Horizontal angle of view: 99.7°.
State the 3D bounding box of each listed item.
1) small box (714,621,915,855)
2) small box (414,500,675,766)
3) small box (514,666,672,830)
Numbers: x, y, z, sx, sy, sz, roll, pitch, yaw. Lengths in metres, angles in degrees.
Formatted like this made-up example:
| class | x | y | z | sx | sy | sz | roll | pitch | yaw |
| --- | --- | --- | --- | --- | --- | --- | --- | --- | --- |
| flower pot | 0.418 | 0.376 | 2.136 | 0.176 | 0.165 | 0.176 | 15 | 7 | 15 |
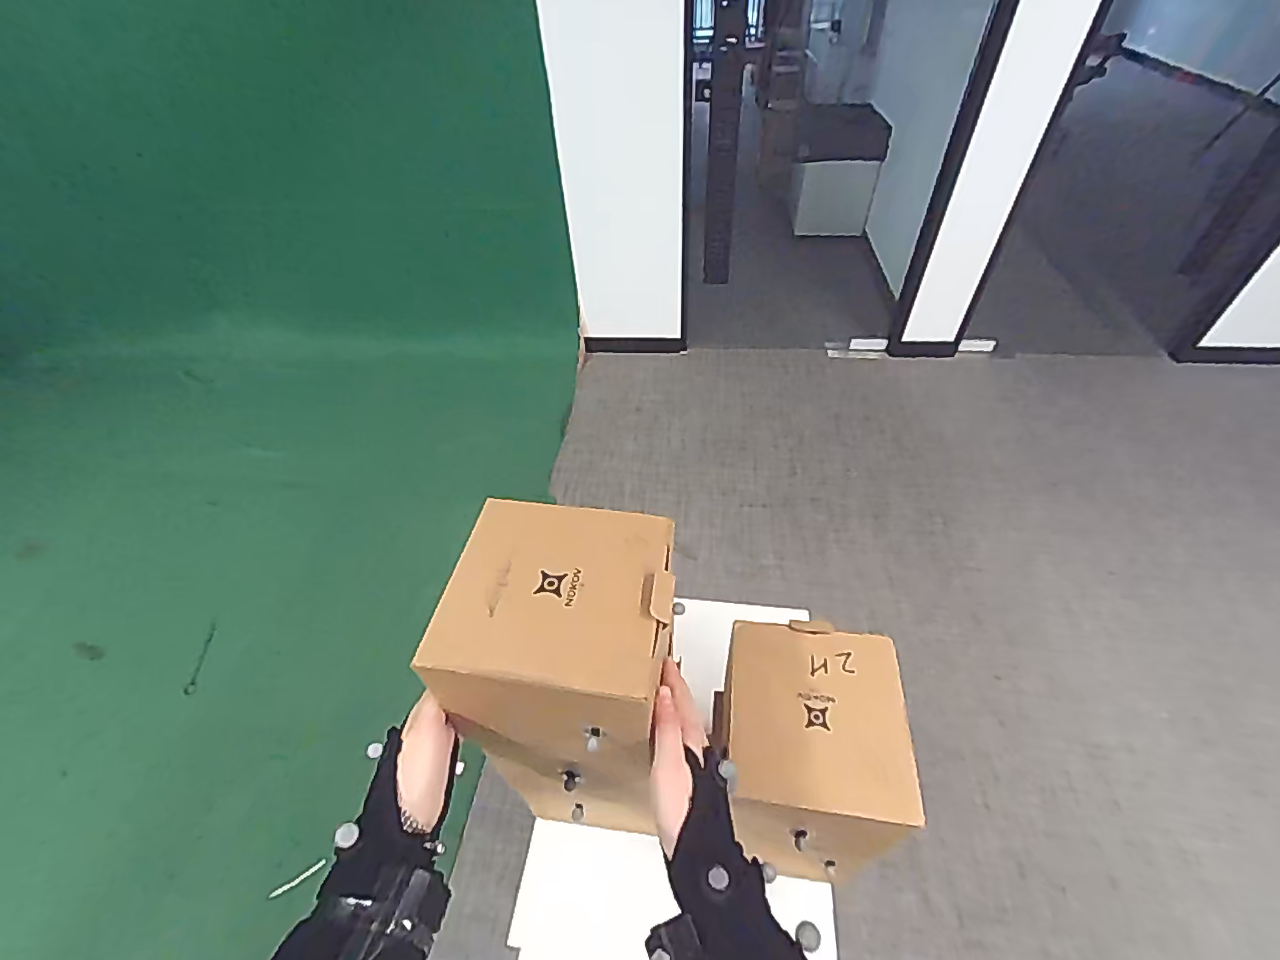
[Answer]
| class | x | y | z | sx | sy | sz | roll | pitch | yaw |
| --- | --- | --- | --- | --- | --- | --- | --- | --- | --- |
| small box | 0.169 | 0.276 | 0.577 | 0.168 | 0.176 | 0.179 | 5 | 47 | 8 |
| small box | -0.065 | 0.141 | 0.492 | 0.179 | 0.176 | 0.168 | 5 | 46 | 7 |
| small box | -0.052 | 0.358 | 0.738 | 0.179 | 0.176 | 0.168 | 5 | 48 | 6 |
